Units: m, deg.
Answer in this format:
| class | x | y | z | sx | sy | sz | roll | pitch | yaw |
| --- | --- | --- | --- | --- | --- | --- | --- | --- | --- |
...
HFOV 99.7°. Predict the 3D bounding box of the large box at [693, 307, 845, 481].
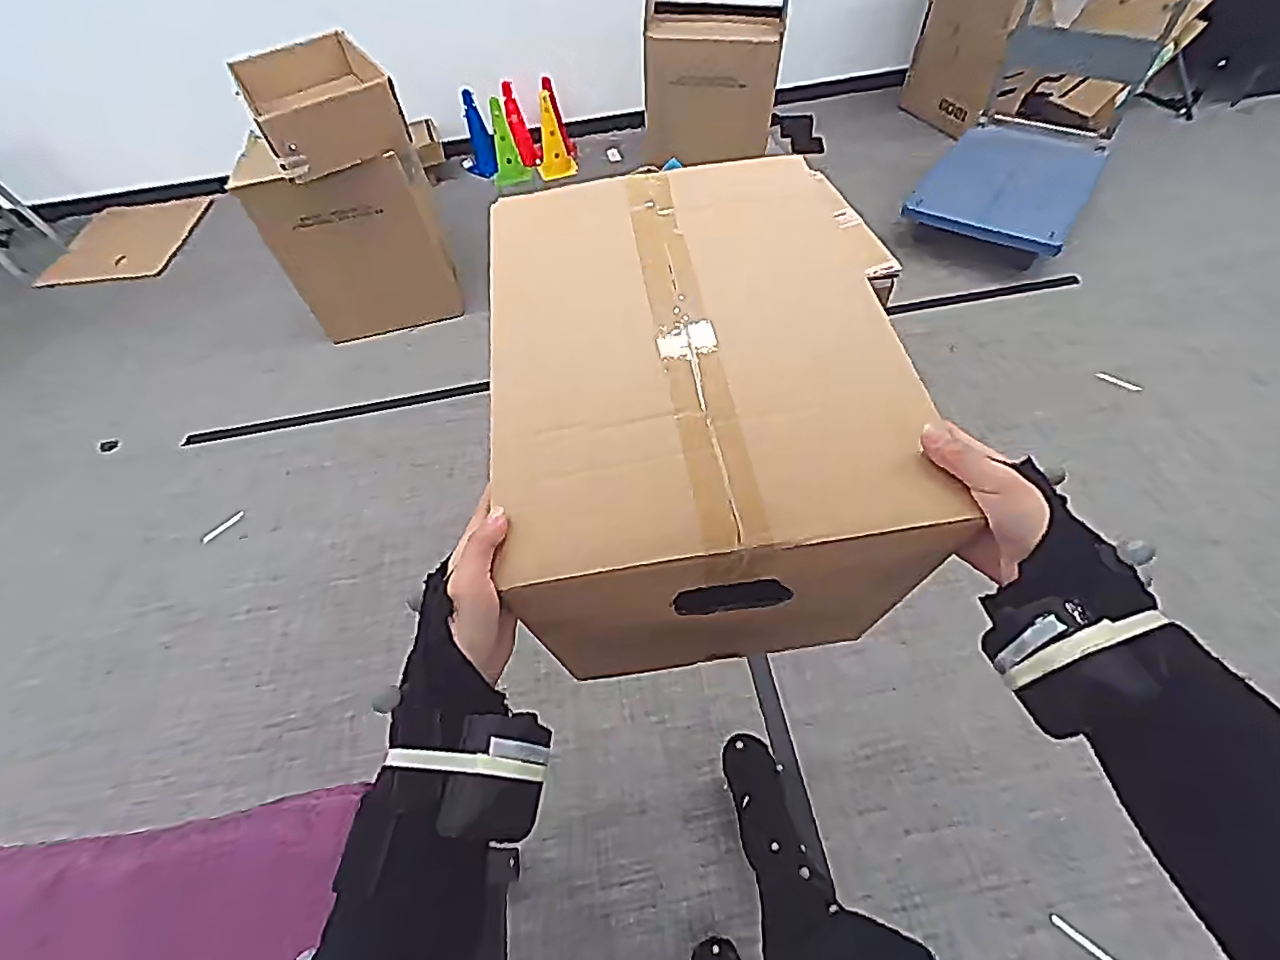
| class | x | y | z | sx | sy | sz | roll | pitch | yaw |
| --- | --- | --- | --- | --- | --- | --- | --- | --- | --- |
| large box | 0.362 | -0.262 | 1.651 | 0.320 | 0.320 | 0.408 | -11 | 55 | -3 |
